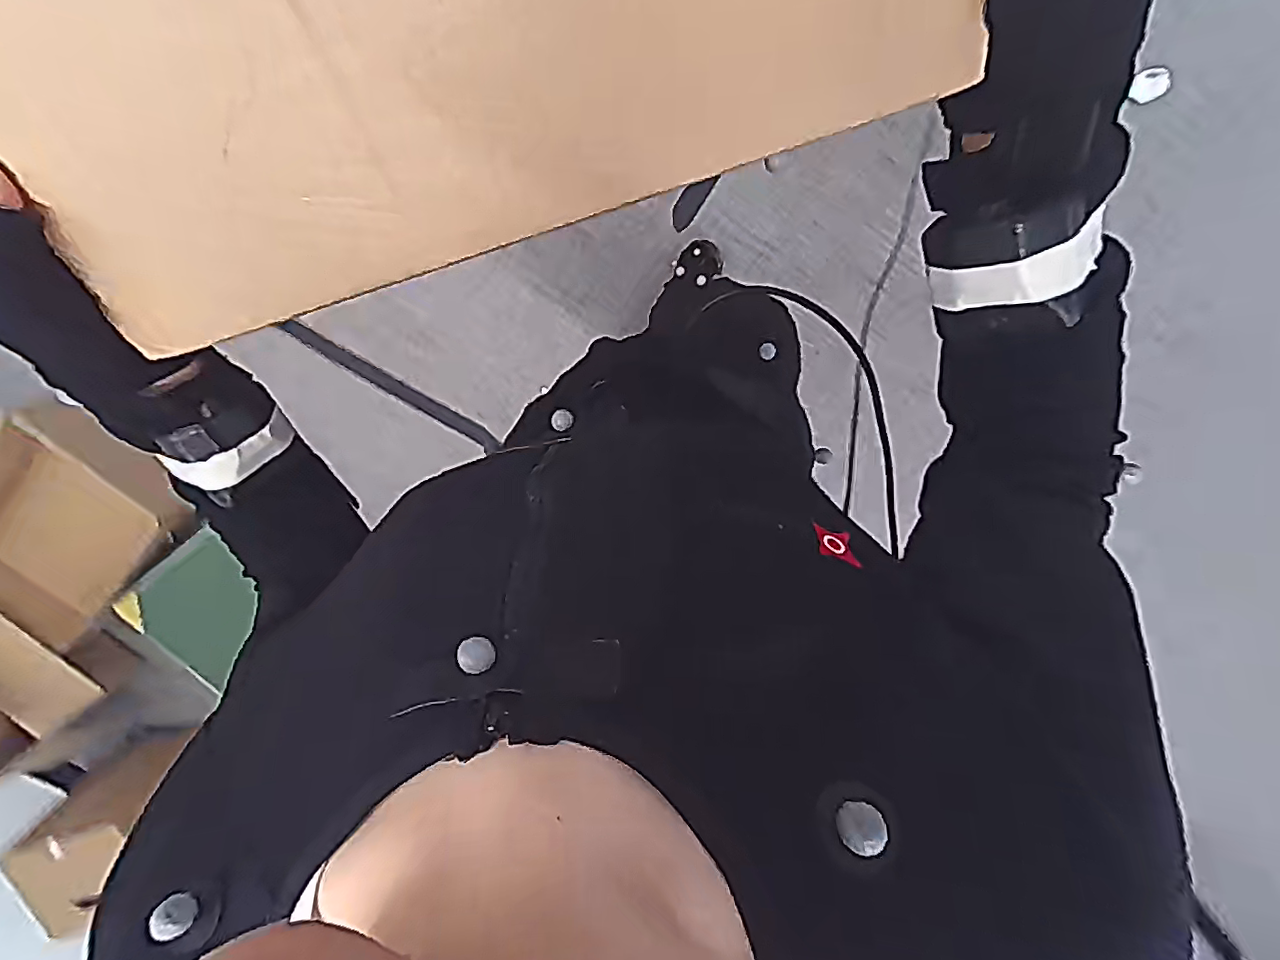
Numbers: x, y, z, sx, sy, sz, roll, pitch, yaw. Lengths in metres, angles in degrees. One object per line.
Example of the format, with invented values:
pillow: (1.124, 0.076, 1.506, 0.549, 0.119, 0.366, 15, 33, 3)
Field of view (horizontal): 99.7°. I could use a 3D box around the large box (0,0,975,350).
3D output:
large box: (-0.096, -0.320, 0.285, 0.408, 0.320, 0.320, -13, 125, 10)
